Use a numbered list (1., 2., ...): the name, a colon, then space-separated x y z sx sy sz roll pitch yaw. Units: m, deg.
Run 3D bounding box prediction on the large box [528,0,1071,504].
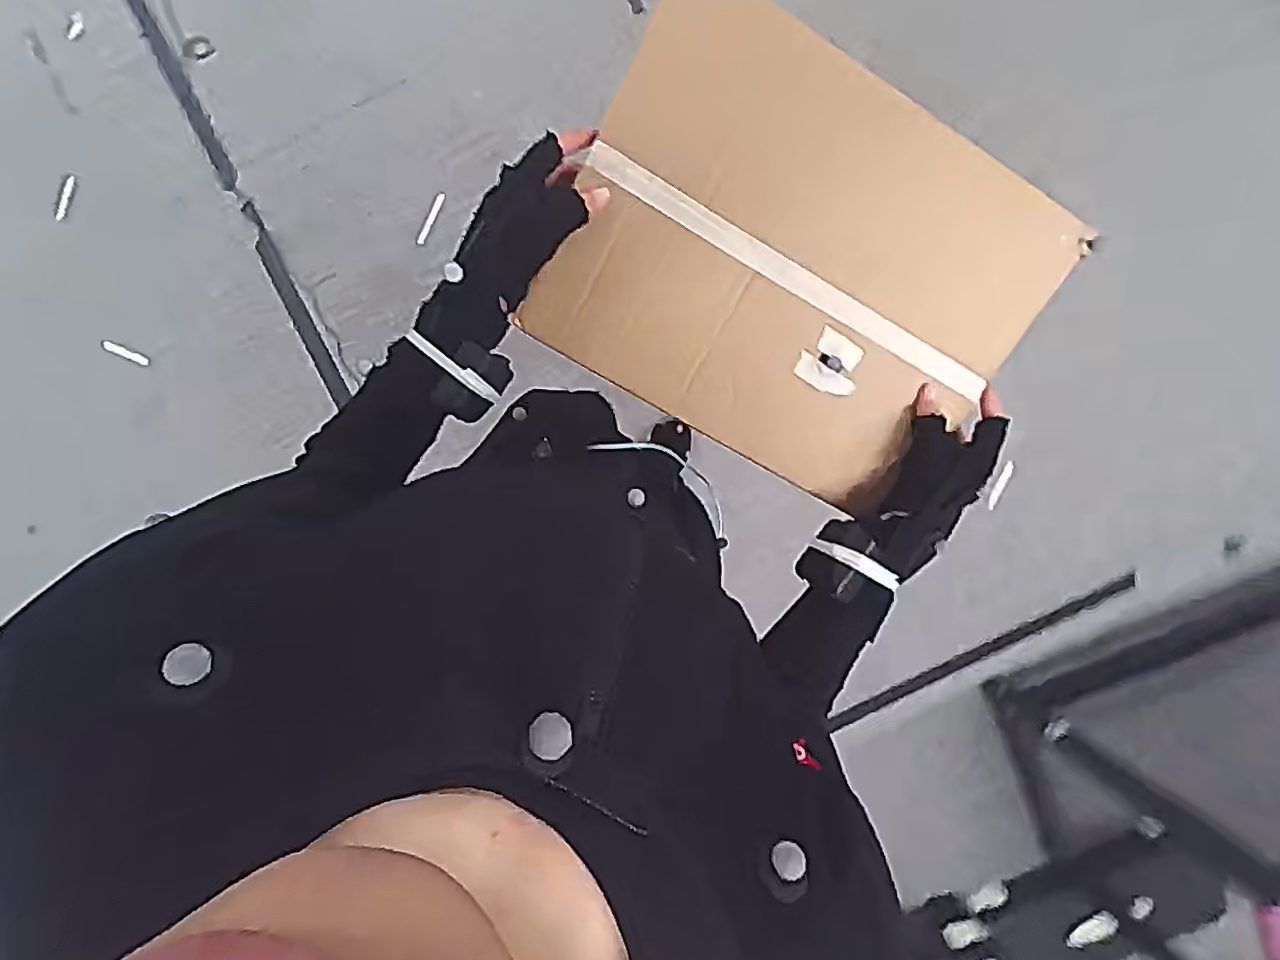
1. large box: 0.136 -0.233 0.630 0.408 0.320 0.320 28 106 -9
